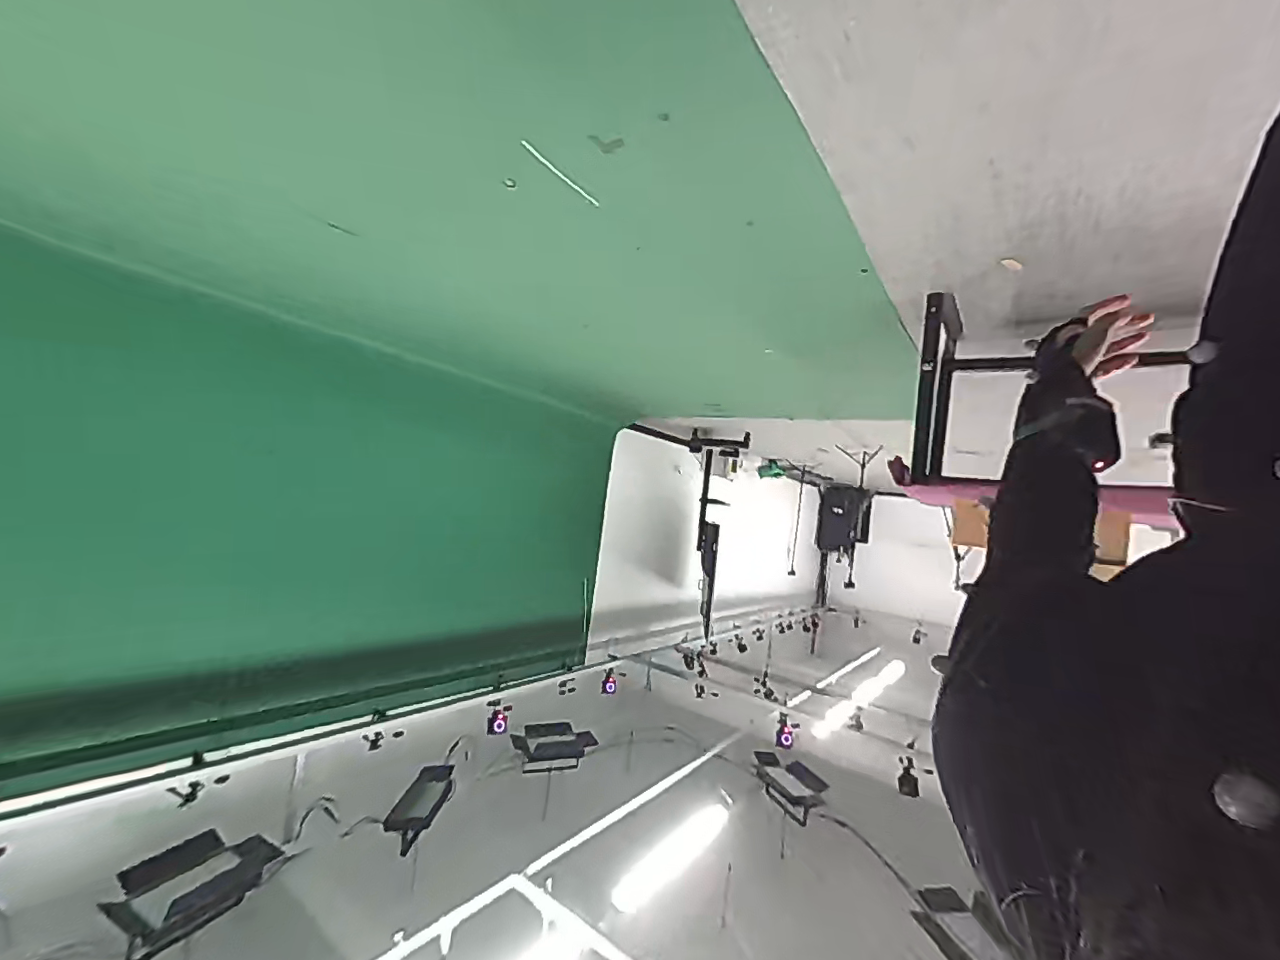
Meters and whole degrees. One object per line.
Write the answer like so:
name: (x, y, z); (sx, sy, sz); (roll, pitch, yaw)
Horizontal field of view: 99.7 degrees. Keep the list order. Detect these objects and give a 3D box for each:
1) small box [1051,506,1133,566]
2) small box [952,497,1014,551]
small box: (1.430, 0.174, 1.717); (0.179, 0.176, 0.168); (6, 178, 32)
small box: (1.189, 0.152, 1.878); (0.168, 0.176, 0.179); (5, 177, 28)
